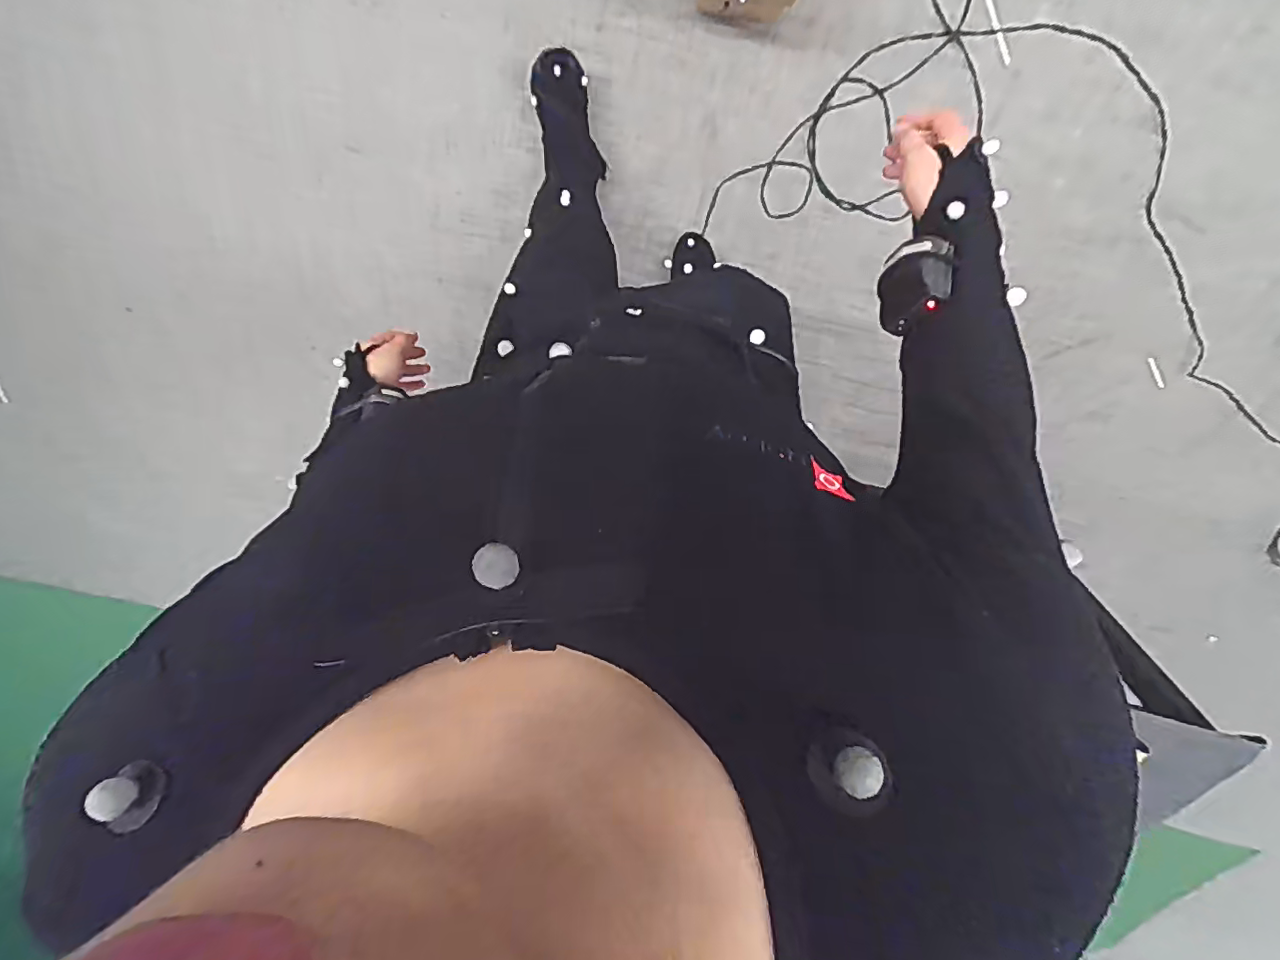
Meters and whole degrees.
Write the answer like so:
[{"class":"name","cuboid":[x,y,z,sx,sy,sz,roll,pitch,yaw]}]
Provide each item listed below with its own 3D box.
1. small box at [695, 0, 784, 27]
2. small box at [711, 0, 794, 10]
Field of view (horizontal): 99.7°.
[{"class":"small box","cuboid":[0.193,-0.934,0.955,0.168,0.176,0.179,10,120,2]},{"class":"small box","cuboid":[0.179,-0.844,0.816,0.168,0.176,0.179,8,120,2]}]
